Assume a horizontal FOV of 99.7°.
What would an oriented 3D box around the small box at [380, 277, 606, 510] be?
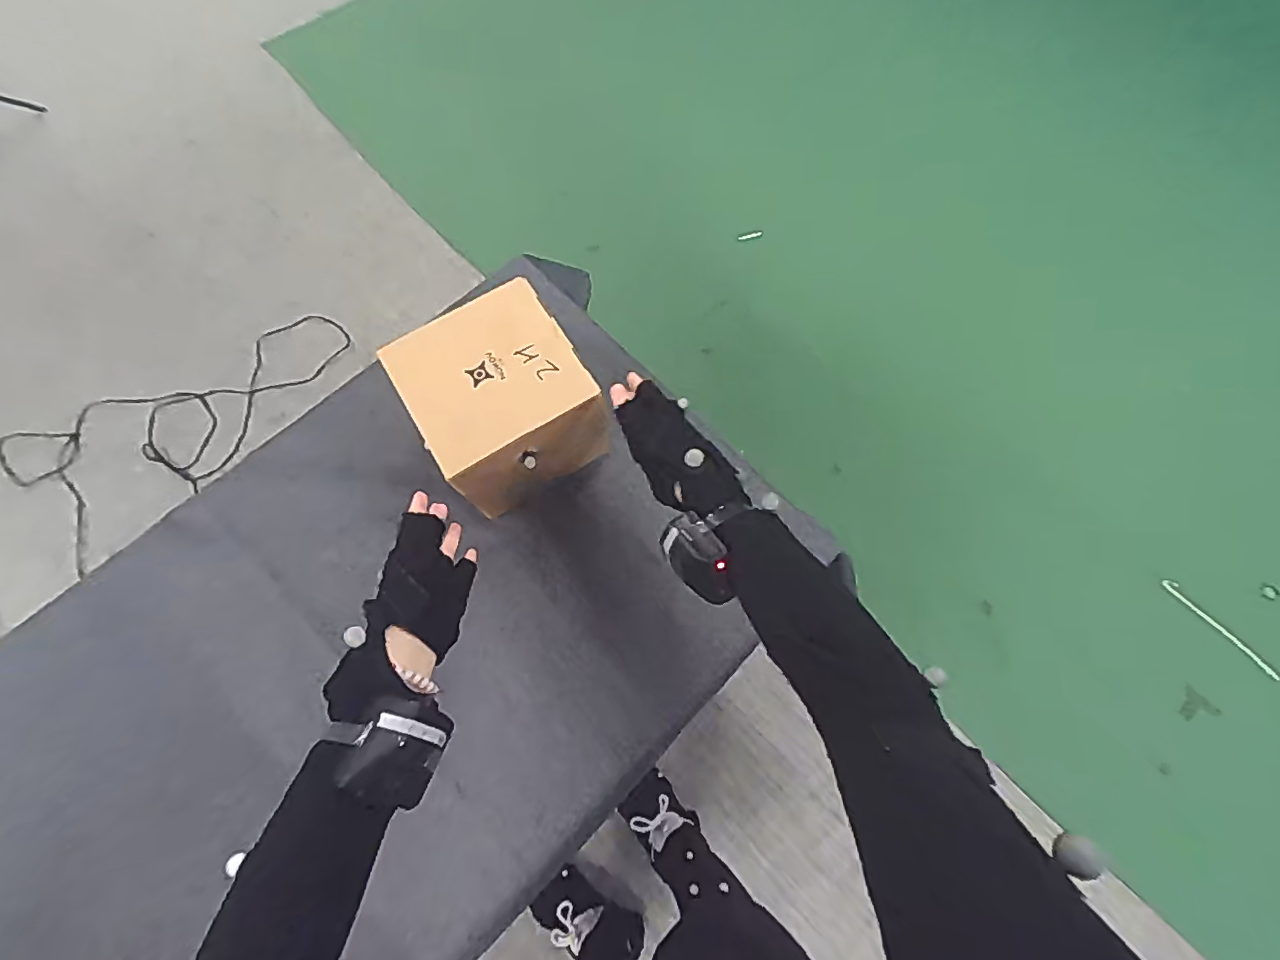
[{"bbox_3d":[-0.152,-0.086,0.620,0.179,0.176,0.168,-31,76,-10],"label":"small box"}]
